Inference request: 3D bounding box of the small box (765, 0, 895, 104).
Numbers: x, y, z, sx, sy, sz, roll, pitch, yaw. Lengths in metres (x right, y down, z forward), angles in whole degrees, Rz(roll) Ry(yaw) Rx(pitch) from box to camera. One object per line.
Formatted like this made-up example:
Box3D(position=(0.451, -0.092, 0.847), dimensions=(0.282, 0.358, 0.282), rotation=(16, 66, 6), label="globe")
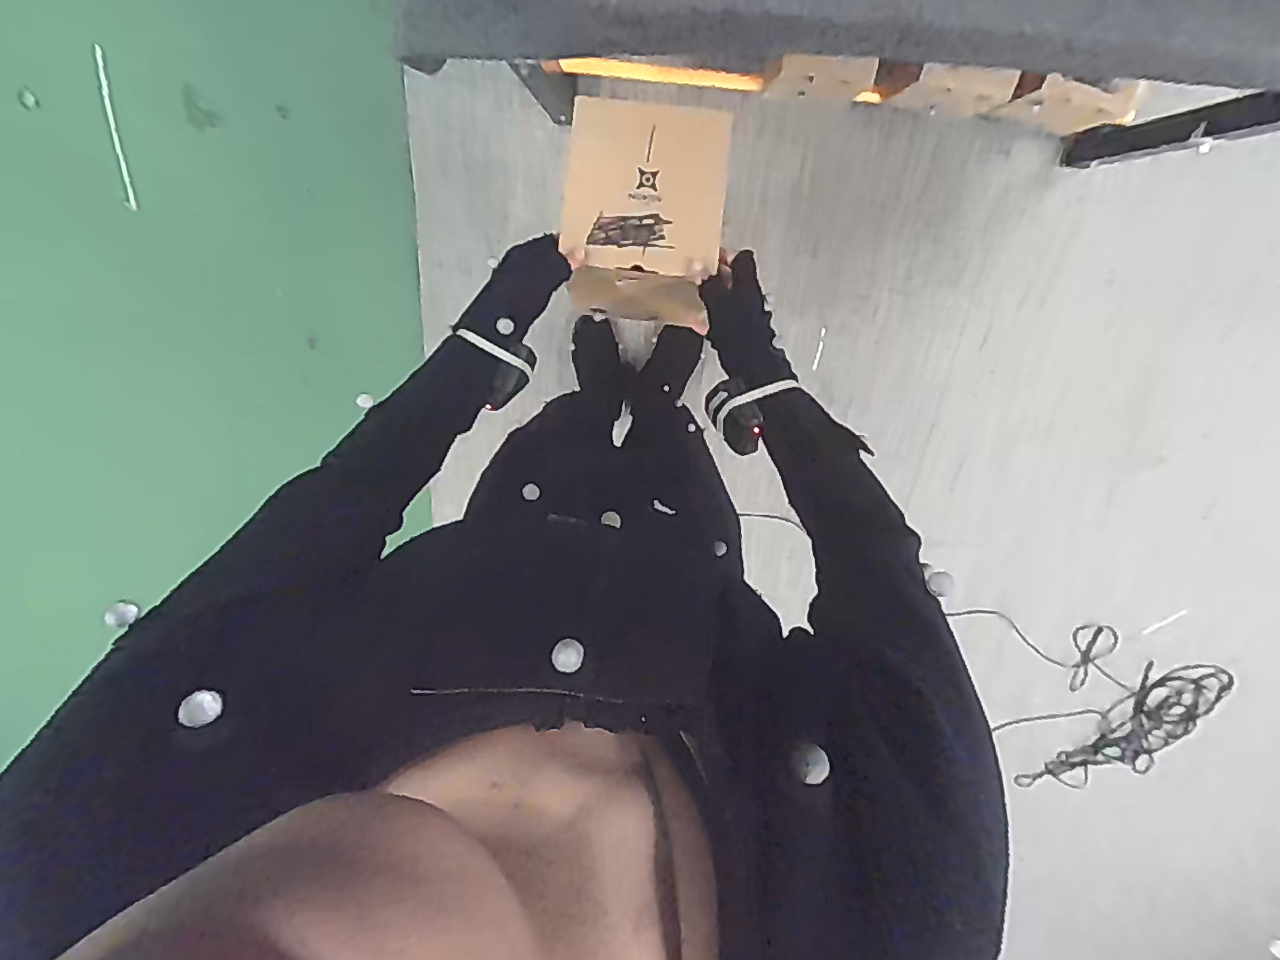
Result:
Box3D(position=(0.328, -0.792, 0.952), dimensions=(0.168, 0.176, 0.179), rotation=(7, 115, -2), label="small box")
